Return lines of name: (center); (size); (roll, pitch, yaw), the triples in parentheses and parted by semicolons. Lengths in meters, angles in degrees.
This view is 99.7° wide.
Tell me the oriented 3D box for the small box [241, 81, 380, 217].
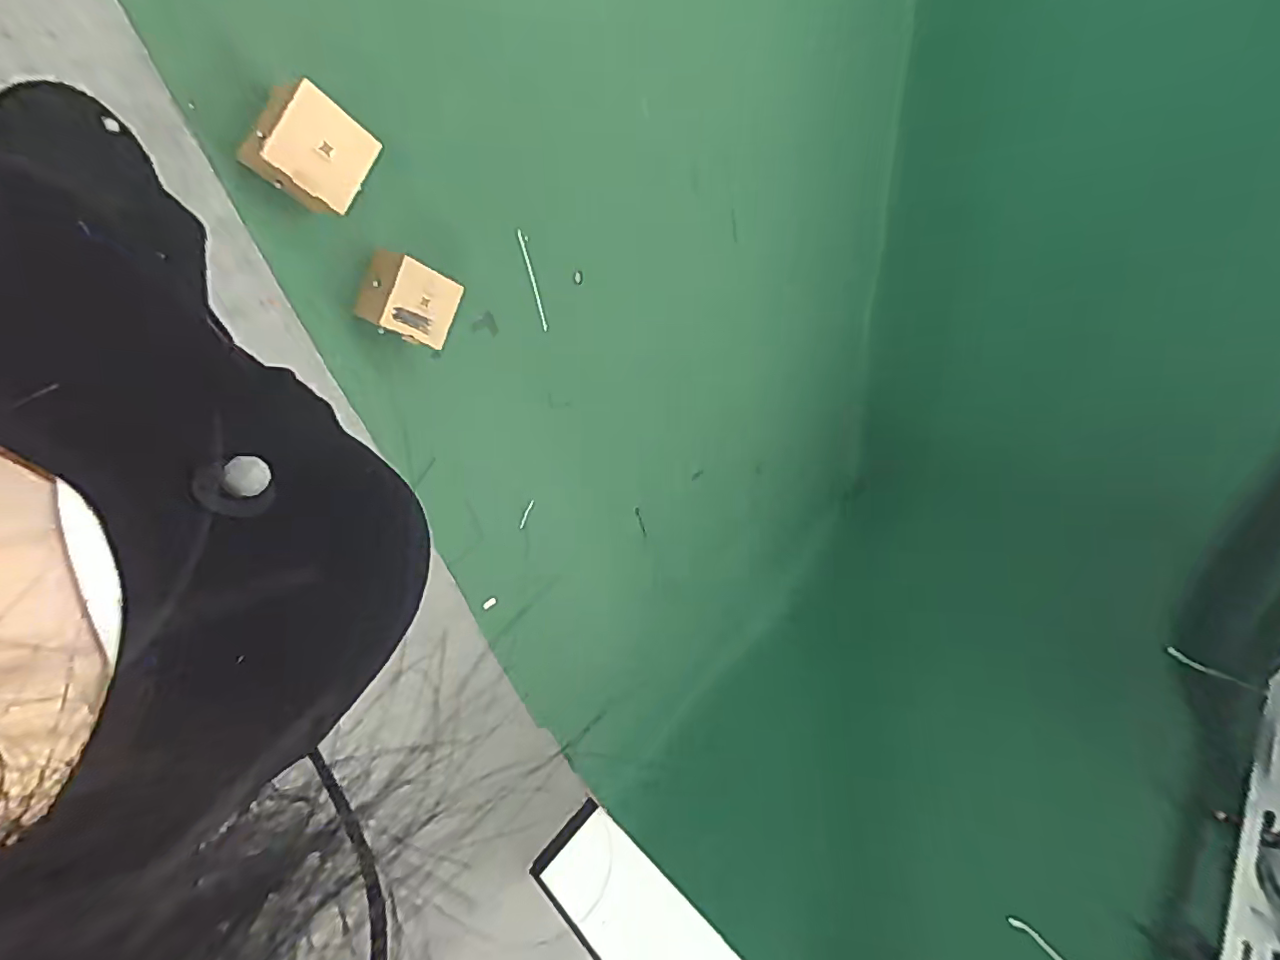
small box: (-0.688, -0.682, 1.123); (0.168, 0.176, 0.179); (30, 88, -53)
